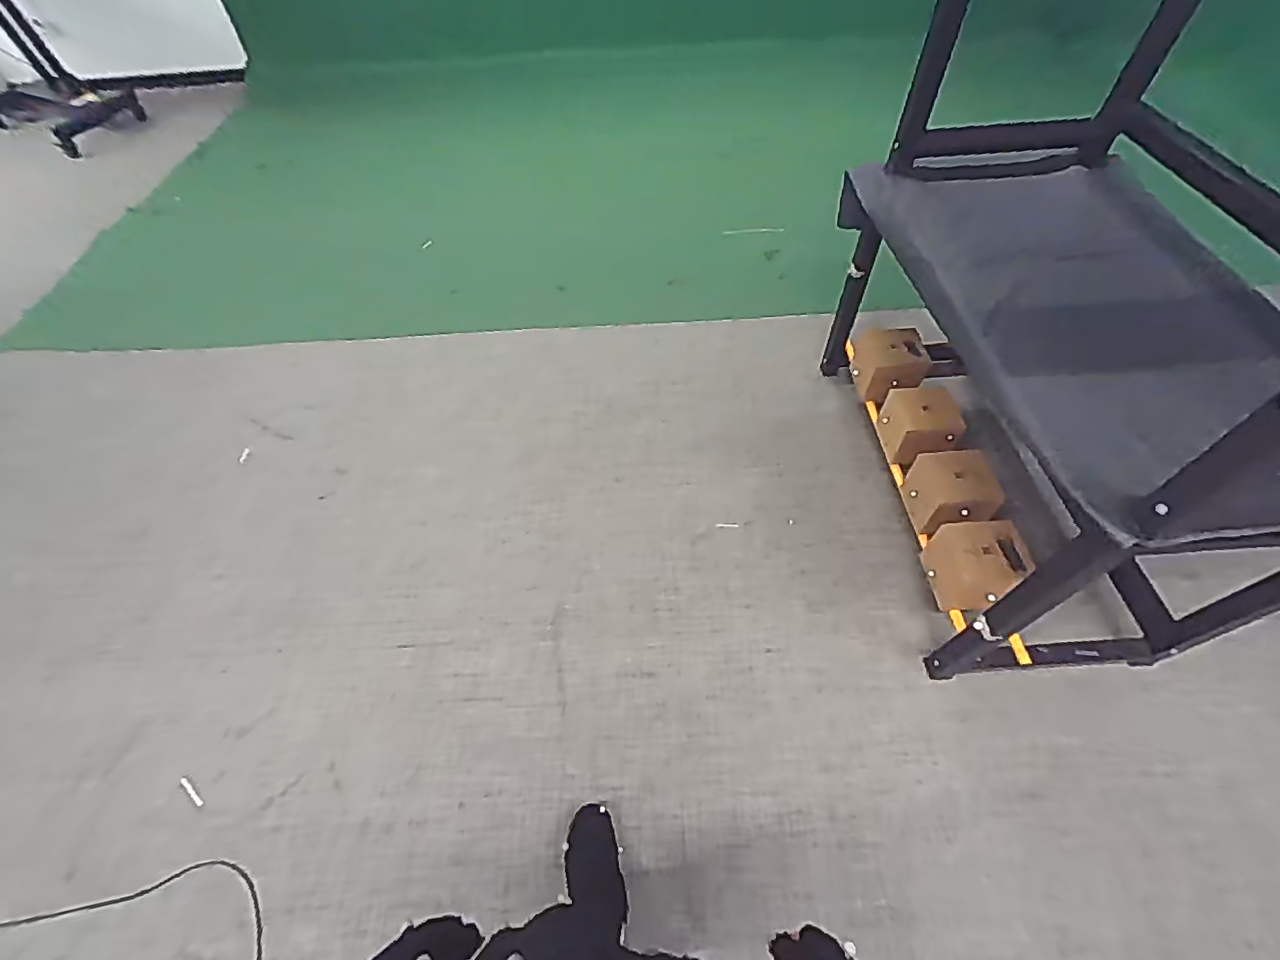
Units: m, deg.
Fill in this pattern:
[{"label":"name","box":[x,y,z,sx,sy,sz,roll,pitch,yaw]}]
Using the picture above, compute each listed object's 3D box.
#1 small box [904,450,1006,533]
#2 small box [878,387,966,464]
[{"label":"small box","box":[0.860,0.036,1.501,0.179,0.176,0.168,-4,56,1]},{"label":"small box","box":[0.844,-0.162,1.645,0.179,0.176,0.168,-3,55,2]}]
